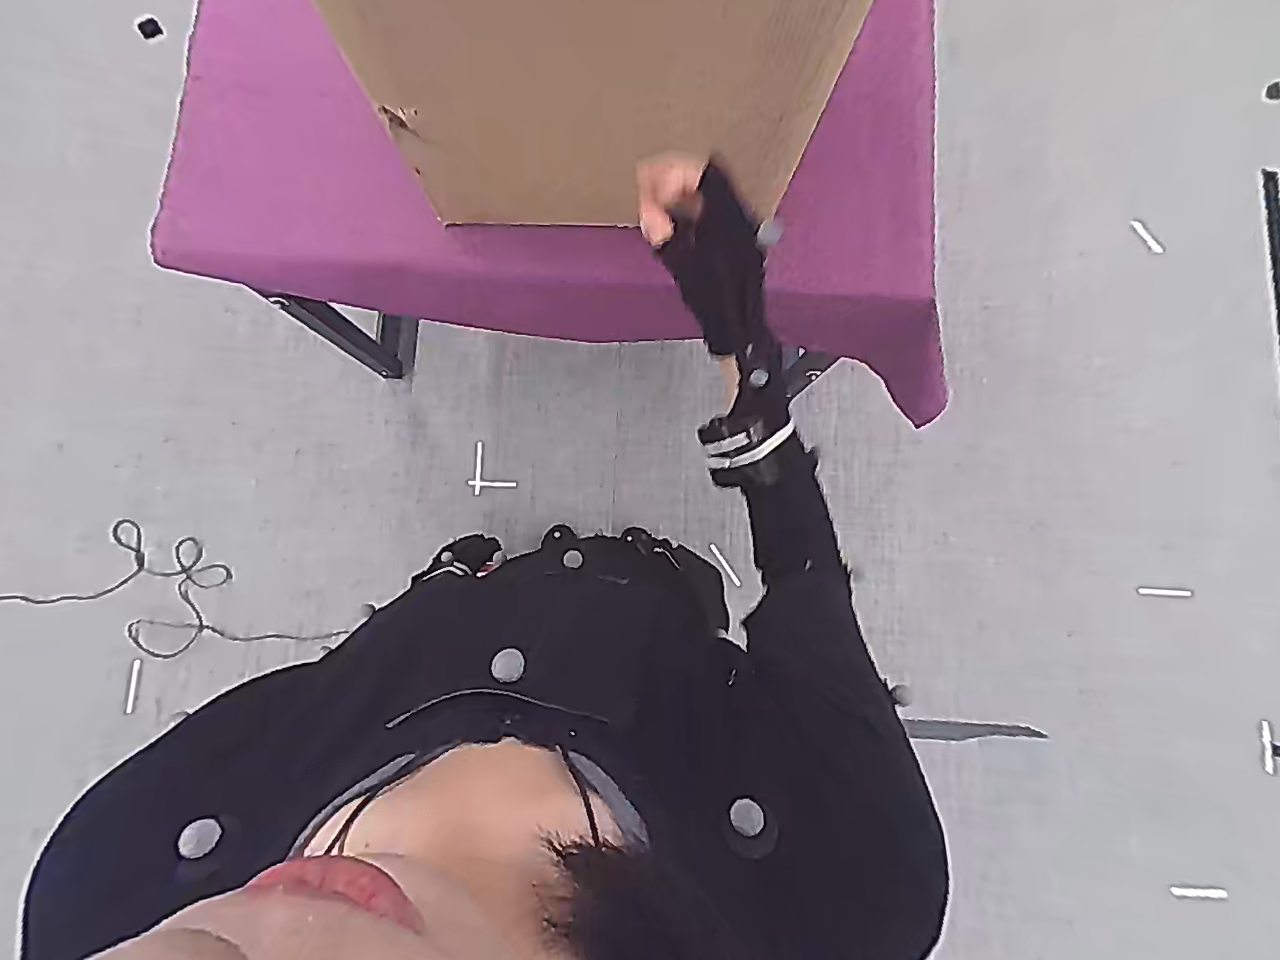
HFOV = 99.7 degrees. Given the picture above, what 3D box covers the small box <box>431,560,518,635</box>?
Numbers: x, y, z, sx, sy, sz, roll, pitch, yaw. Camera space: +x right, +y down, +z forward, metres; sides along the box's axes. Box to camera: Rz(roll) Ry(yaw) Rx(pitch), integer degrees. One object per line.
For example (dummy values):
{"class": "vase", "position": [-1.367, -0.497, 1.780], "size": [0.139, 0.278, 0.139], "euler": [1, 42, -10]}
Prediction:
{"class": "small box", "position": [-0.426, 0.302, 1.411], "size": [0.179, 0.176, 0.168], "euler": [-7, 84, -4]}
